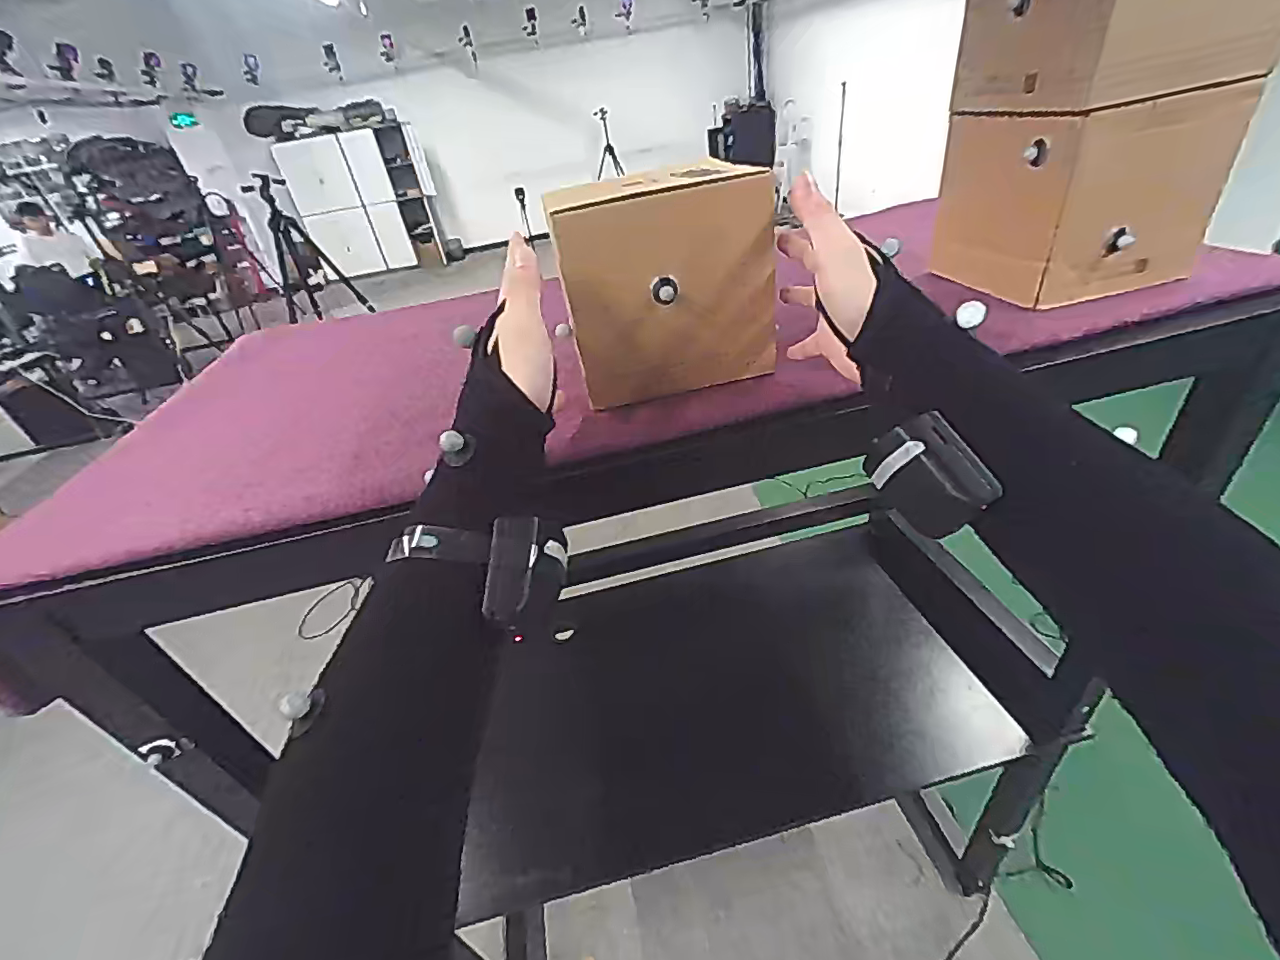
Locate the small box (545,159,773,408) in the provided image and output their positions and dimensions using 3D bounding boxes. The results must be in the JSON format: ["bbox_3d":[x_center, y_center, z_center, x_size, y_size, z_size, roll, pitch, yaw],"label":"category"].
[{"bbox_3d":[0.016,-0.188,0.513,0.179,0.176,0.168,-14,34,-2],"label":"small box"}]

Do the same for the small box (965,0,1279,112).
[{"bbox_3d":[0.403,-0.419,0.449,0.179,0.176,0.168,-14,36,-3],"label":"small box"}]

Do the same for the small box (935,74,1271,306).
[{"bbox_3d":[0.433,-0.292,0.551,0.168,0.176,0.179,-13,36,-3],"label":"small box"}]
